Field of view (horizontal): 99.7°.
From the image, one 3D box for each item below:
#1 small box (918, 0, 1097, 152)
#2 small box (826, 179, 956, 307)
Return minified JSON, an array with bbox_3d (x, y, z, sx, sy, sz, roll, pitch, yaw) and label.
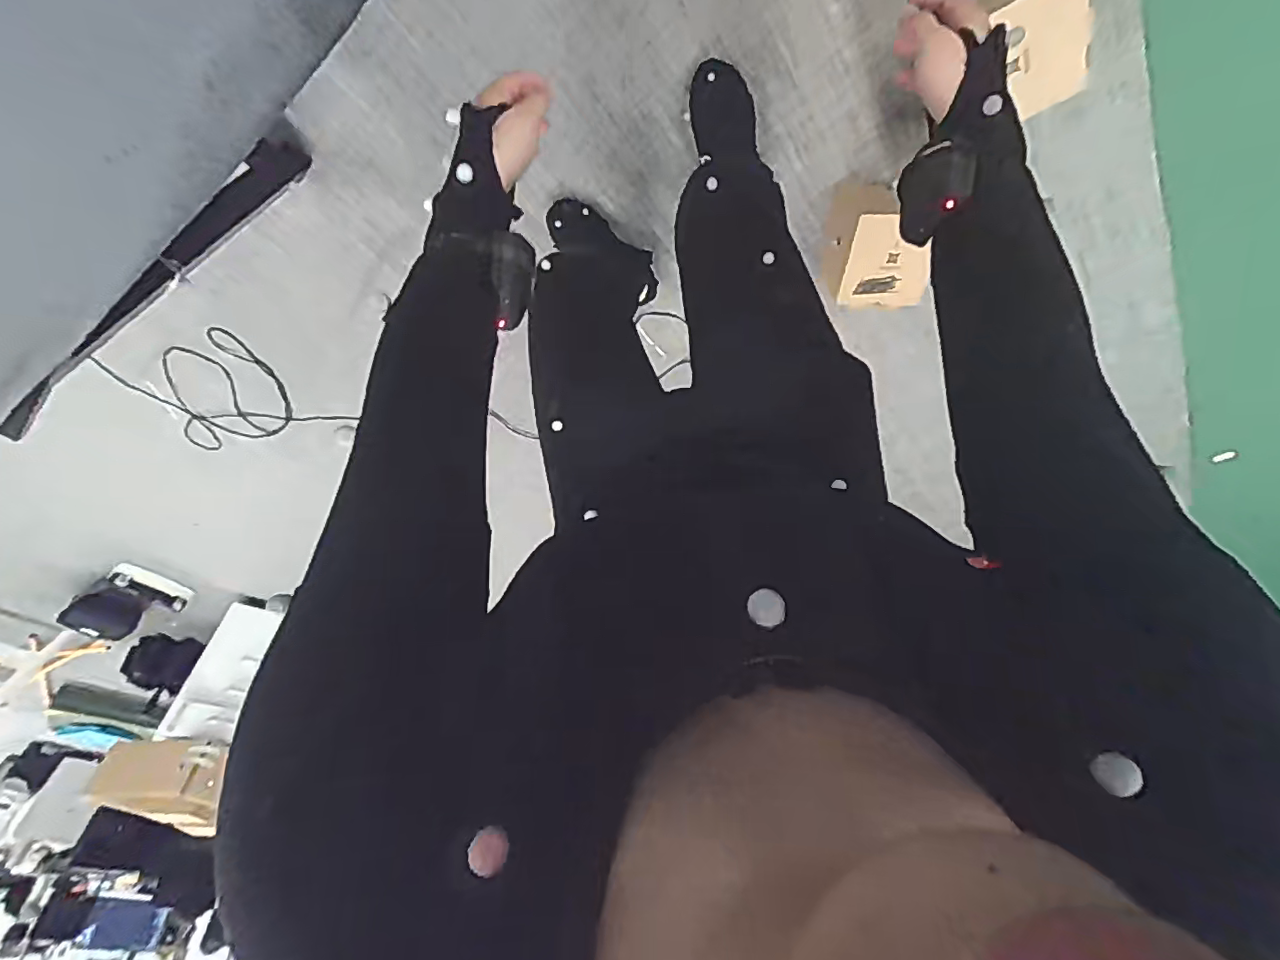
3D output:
[{"bbox_3d":[0.556,-0.657,0.832,0.179,0.176,0.168,-19,134,23],"label":"small box"},{"bbox_3d":[0.474,-0.462,1.056,0.168,0.176,0.179,2,137,2],"label":"small box"}]
